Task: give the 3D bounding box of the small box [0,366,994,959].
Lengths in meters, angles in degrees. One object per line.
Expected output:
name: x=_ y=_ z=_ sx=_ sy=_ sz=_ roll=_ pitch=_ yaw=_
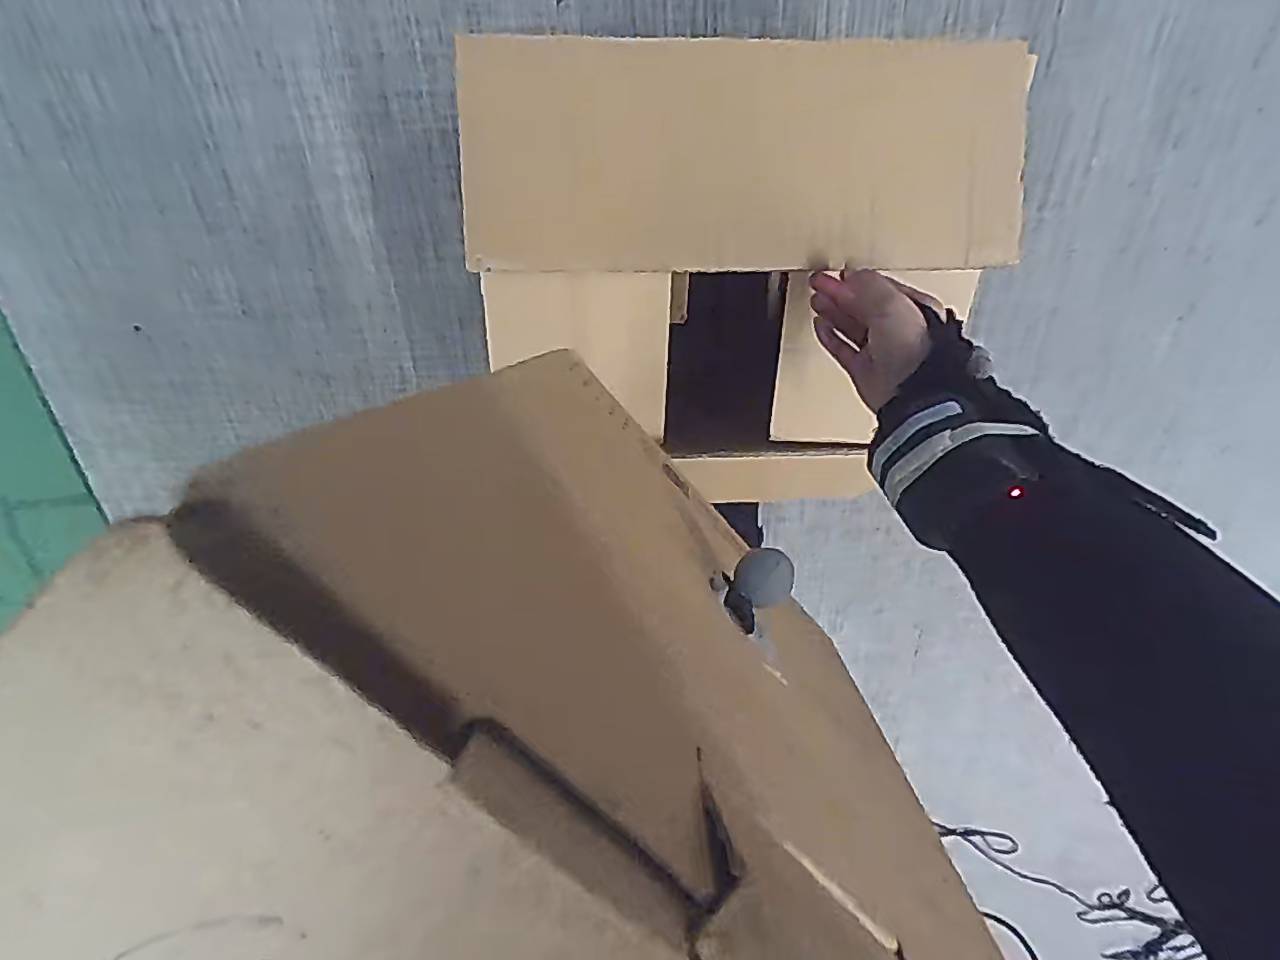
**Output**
small box: x=-0.041 y=0.086 z=0.151 sx=0.179 sy=0.176 sz=0.168 roll=-41 pitch=102 yaw=12
